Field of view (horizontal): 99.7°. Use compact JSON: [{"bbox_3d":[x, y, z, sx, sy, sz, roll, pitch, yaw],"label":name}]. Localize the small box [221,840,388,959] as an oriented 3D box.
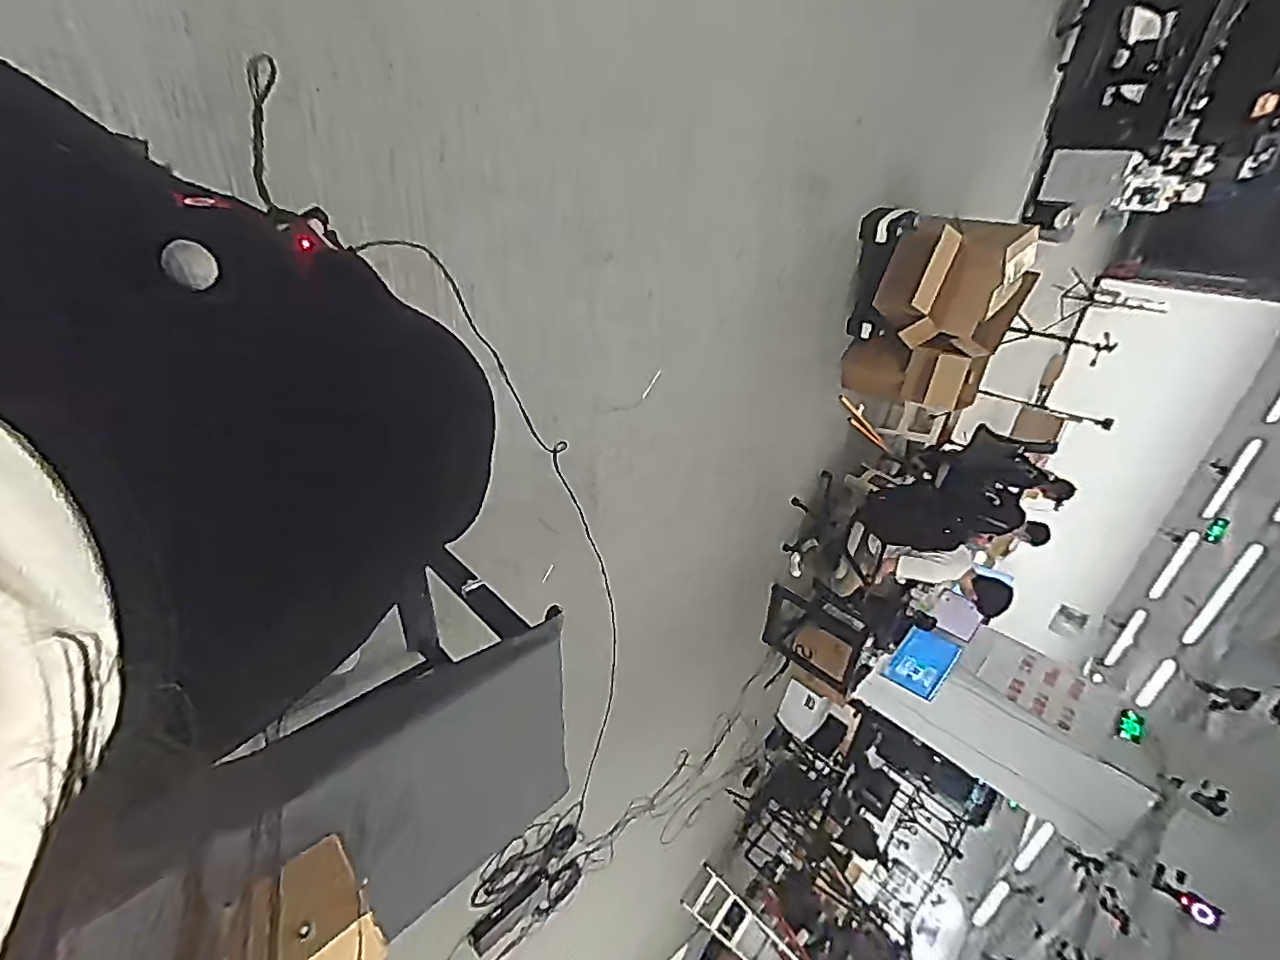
[{"bbox_3d":[-0.551,0.753,0.894,0.179,0.176,0.168,-24,128,-37],"label":"small box"}]
